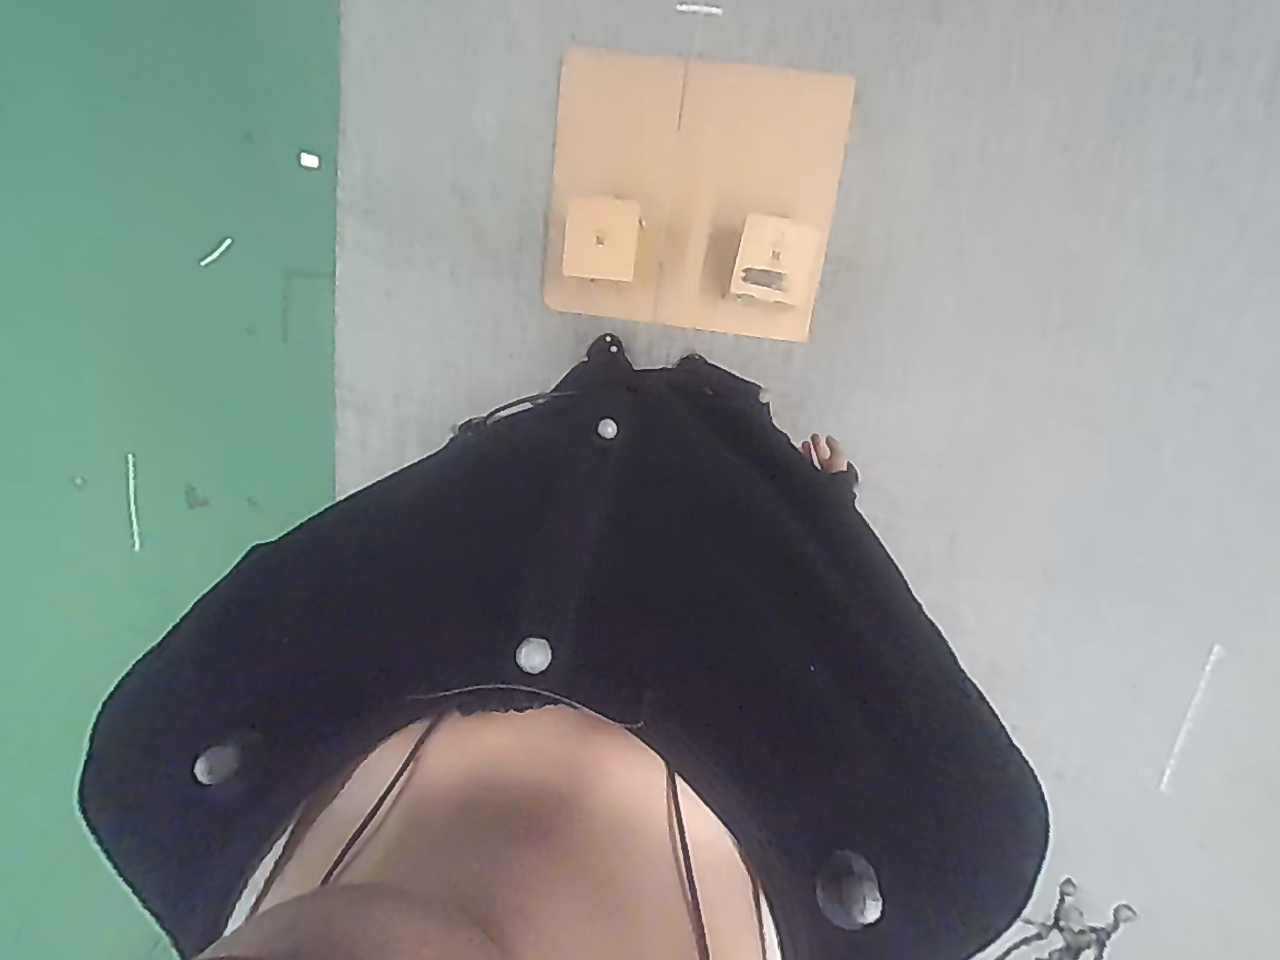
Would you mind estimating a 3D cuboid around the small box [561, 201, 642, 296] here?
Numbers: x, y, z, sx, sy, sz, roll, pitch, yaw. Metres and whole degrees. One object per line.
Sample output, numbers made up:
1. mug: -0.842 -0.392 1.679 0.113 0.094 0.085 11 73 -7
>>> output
1. small box: -0.087 -0.546 1.298 0.168 0.176 0.179 6 102 3
